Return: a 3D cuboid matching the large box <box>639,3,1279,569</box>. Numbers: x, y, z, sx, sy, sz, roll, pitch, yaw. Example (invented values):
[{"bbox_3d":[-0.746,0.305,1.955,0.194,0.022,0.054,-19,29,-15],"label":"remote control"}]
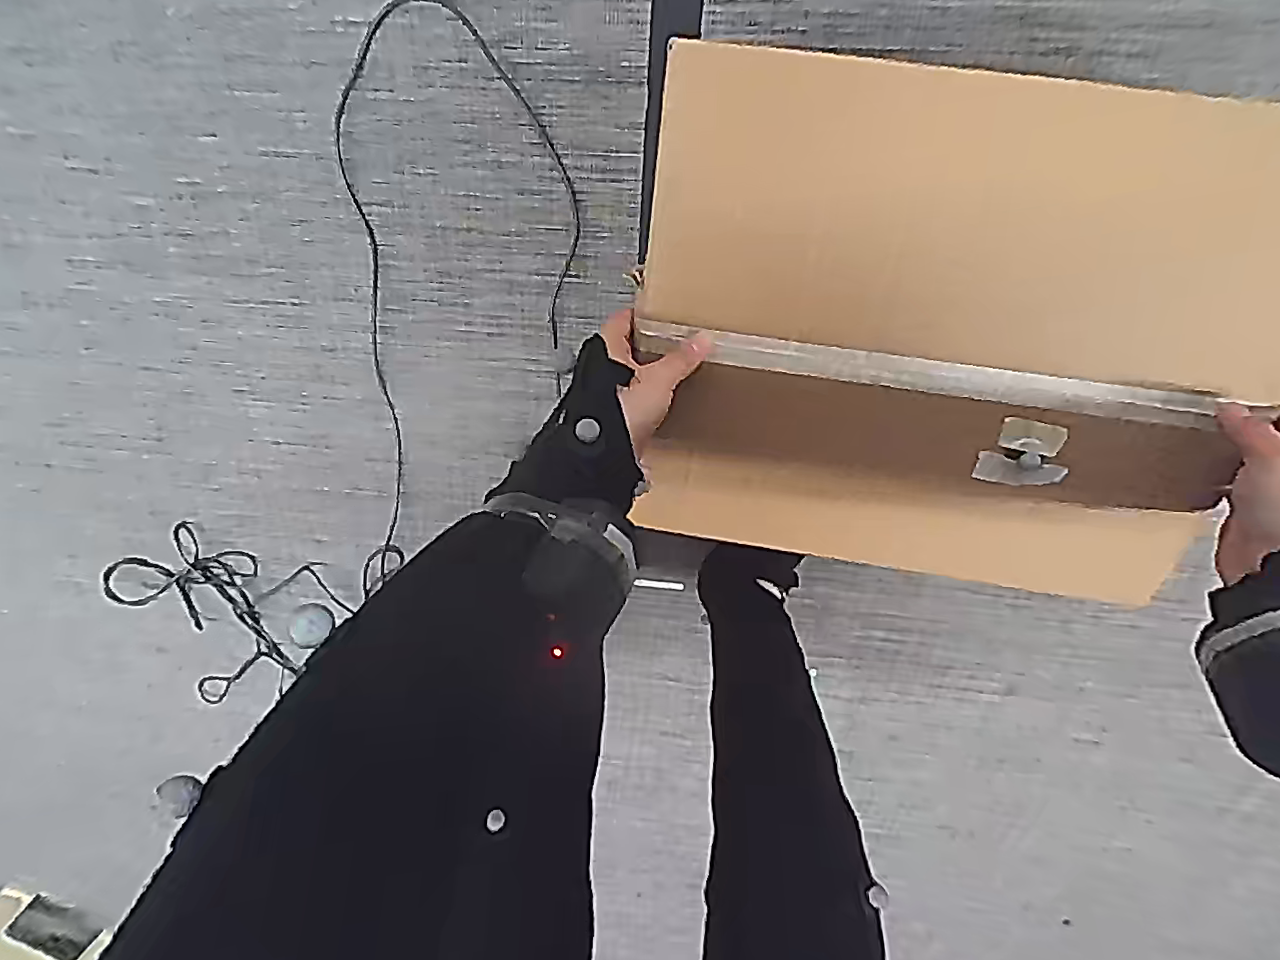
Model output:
[{"bbox_3d":[0.221,-0.159,0.474,0.408,0.320,0.320,8,119,3],"label":"large box"}]
